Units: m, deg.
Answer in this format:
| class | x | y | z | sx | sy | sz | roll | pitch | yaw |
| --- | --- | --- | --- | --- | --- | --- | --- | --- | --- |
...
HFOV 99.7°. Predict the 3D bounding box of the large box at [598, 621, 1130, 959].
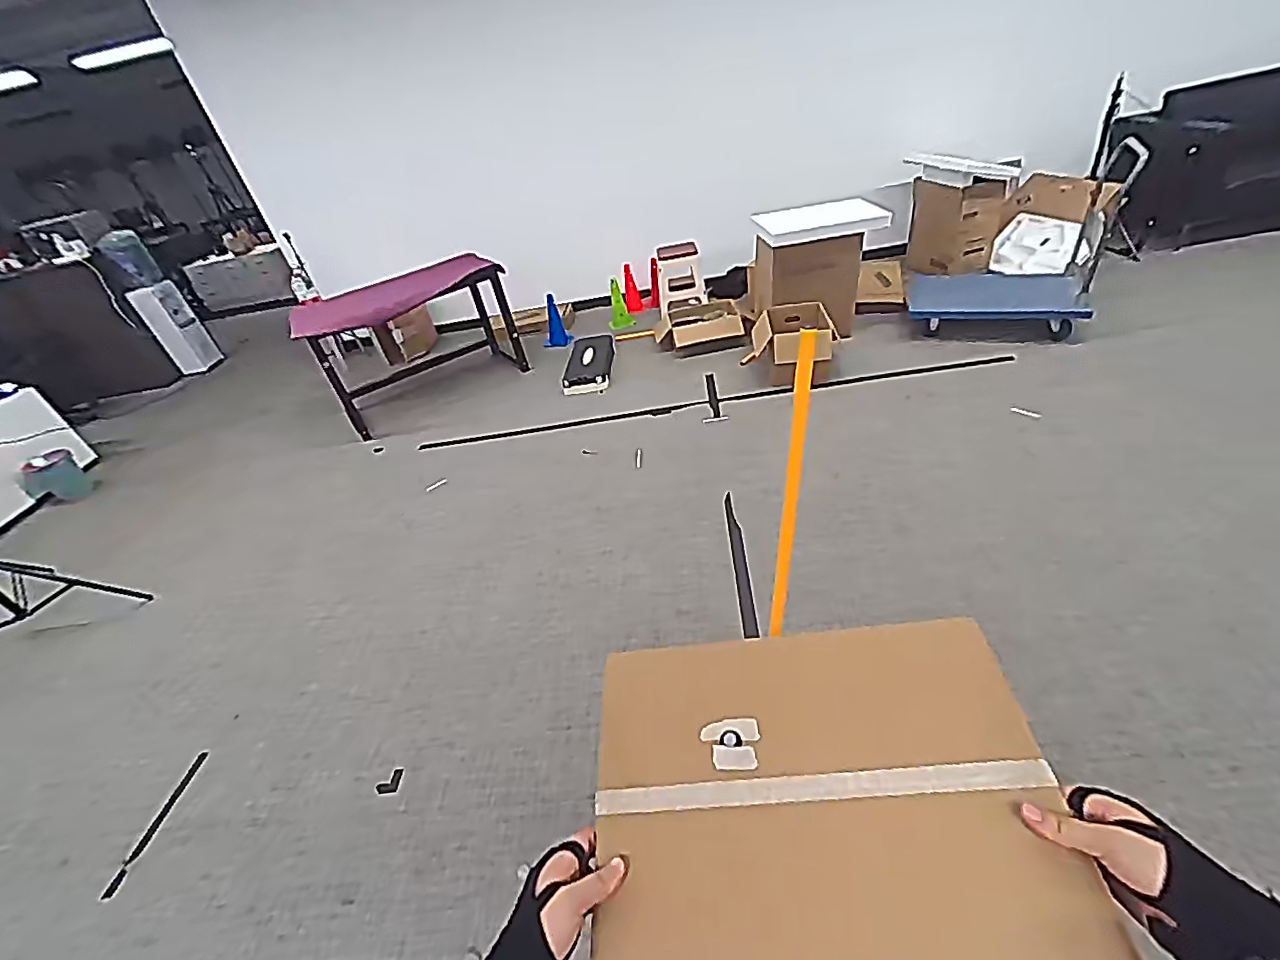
| class | x | y | z | sx | sy | sz | roll | pitch | yaw |
| --- | --- | --- | --- | --- | --- | --- | --- | --- | --- |
| large box | 0.193 | 0.395 | 0.604 | 0.408 | 0.320 | 0.320 | -10 | 42 | 10 |
